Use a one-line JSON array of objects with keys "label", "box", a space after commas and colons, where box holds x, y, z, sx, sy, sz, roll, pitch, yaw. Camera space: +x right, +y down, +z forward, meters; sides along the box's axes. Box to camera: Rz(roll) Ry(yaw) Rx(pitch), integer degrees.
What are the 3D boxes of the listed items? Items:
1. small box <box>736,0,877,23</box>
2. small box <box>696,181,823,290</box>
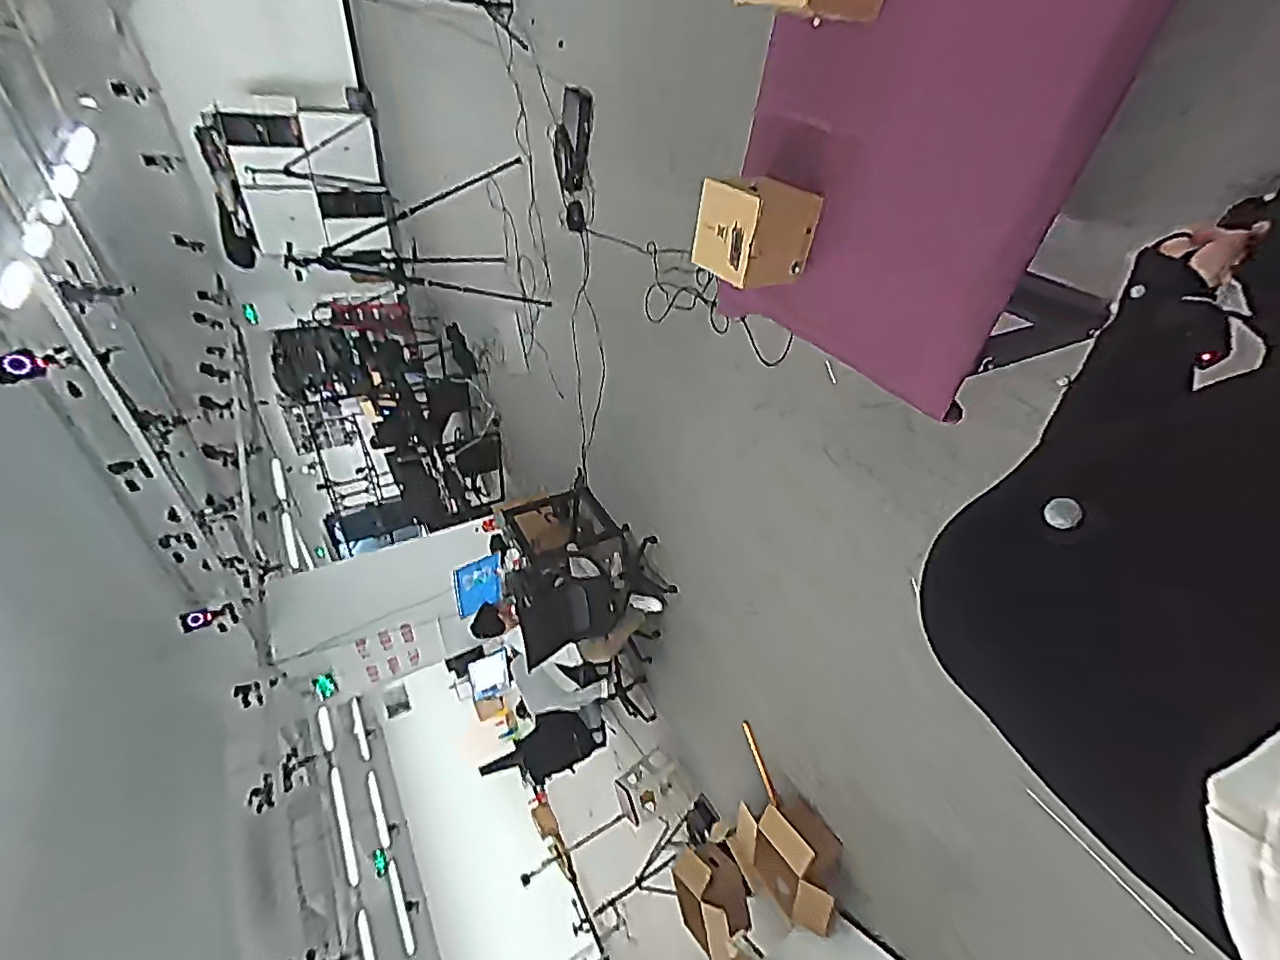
[{"label": "small box", "box": [0.284, -0.839, 0.851, 0.179, 0.176, 0.168, 49, 144, 39]}, {"label": "small box", "box": [0.244, -0.511, 1.117, 0.179, 0.176, 0.168, 48, 144, 40]}]
